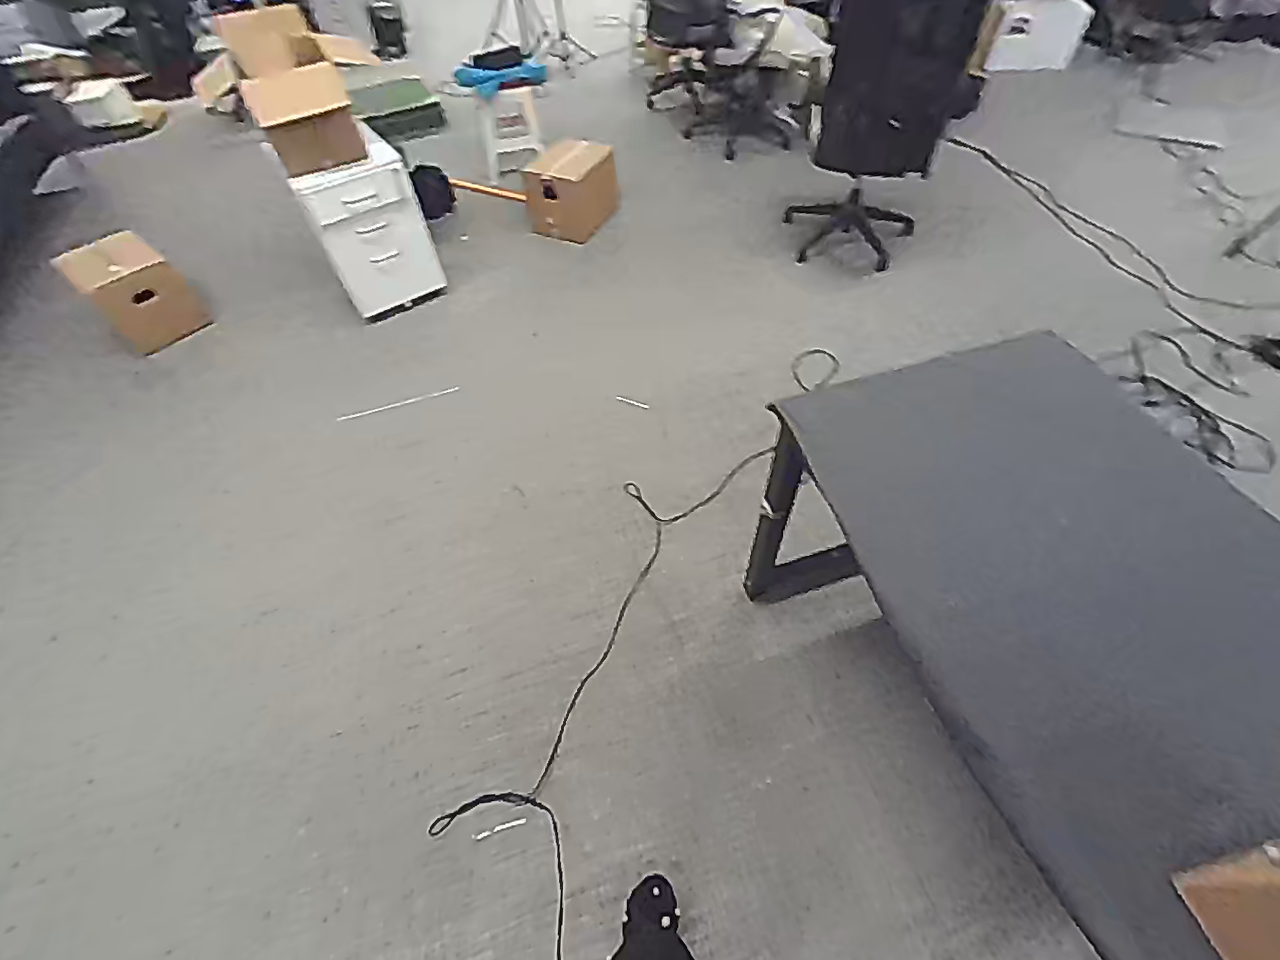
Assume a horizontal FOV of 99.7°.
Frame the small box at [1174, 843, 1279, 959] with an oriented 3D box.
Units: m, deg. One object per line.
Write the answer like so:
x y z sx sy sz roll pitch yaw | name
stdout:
0.644 0.420 0.464 0.168 0.176 0.179 -12 54 -7 | small box
